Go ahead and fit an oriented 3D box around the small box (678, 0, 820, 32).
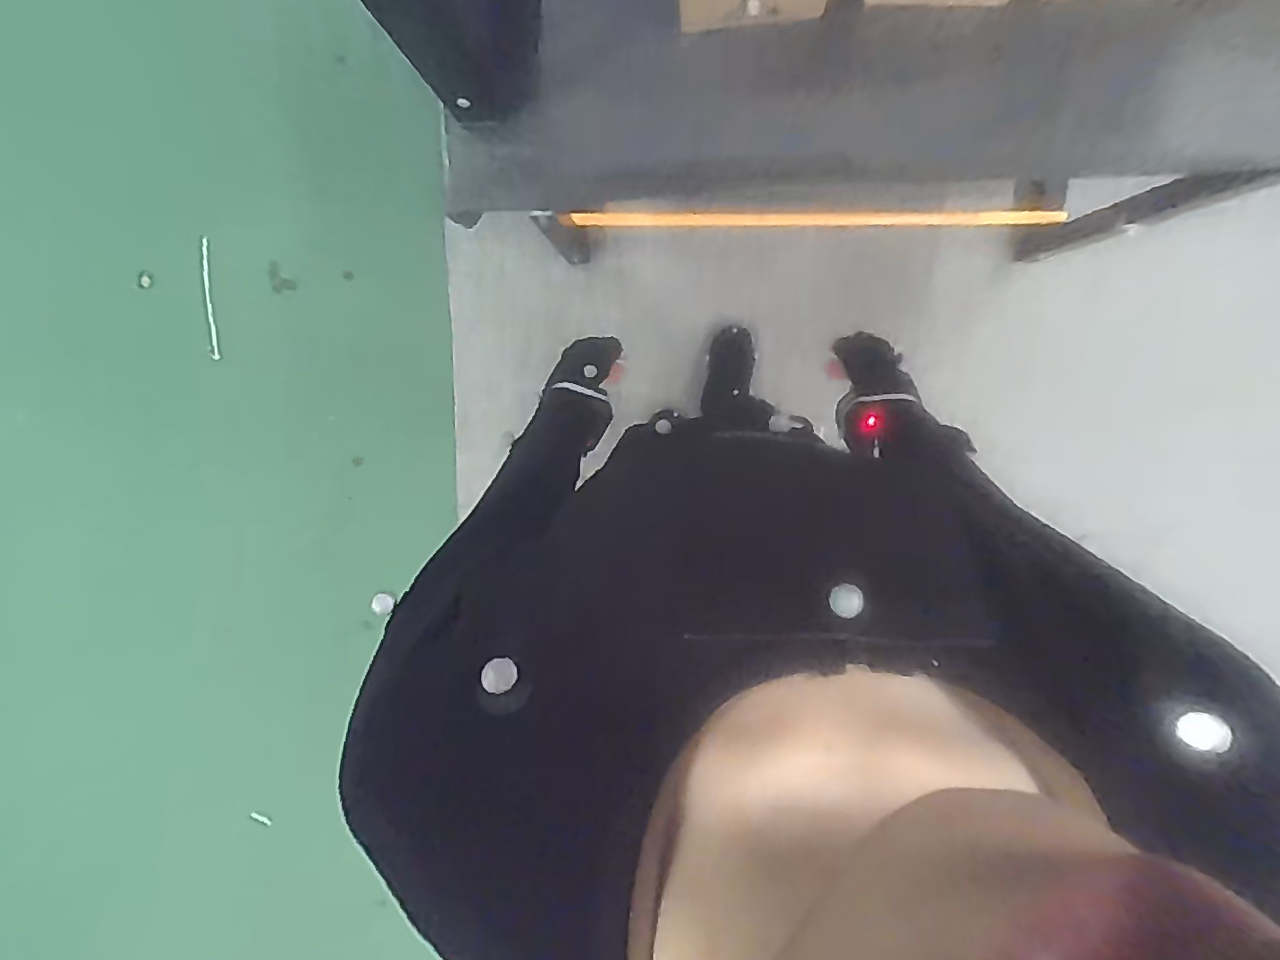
[{"bbox_3d":[0.119,-0.613,0.552,0.168,0.176,0.179,-4,100,3],"label":"small box"}]
